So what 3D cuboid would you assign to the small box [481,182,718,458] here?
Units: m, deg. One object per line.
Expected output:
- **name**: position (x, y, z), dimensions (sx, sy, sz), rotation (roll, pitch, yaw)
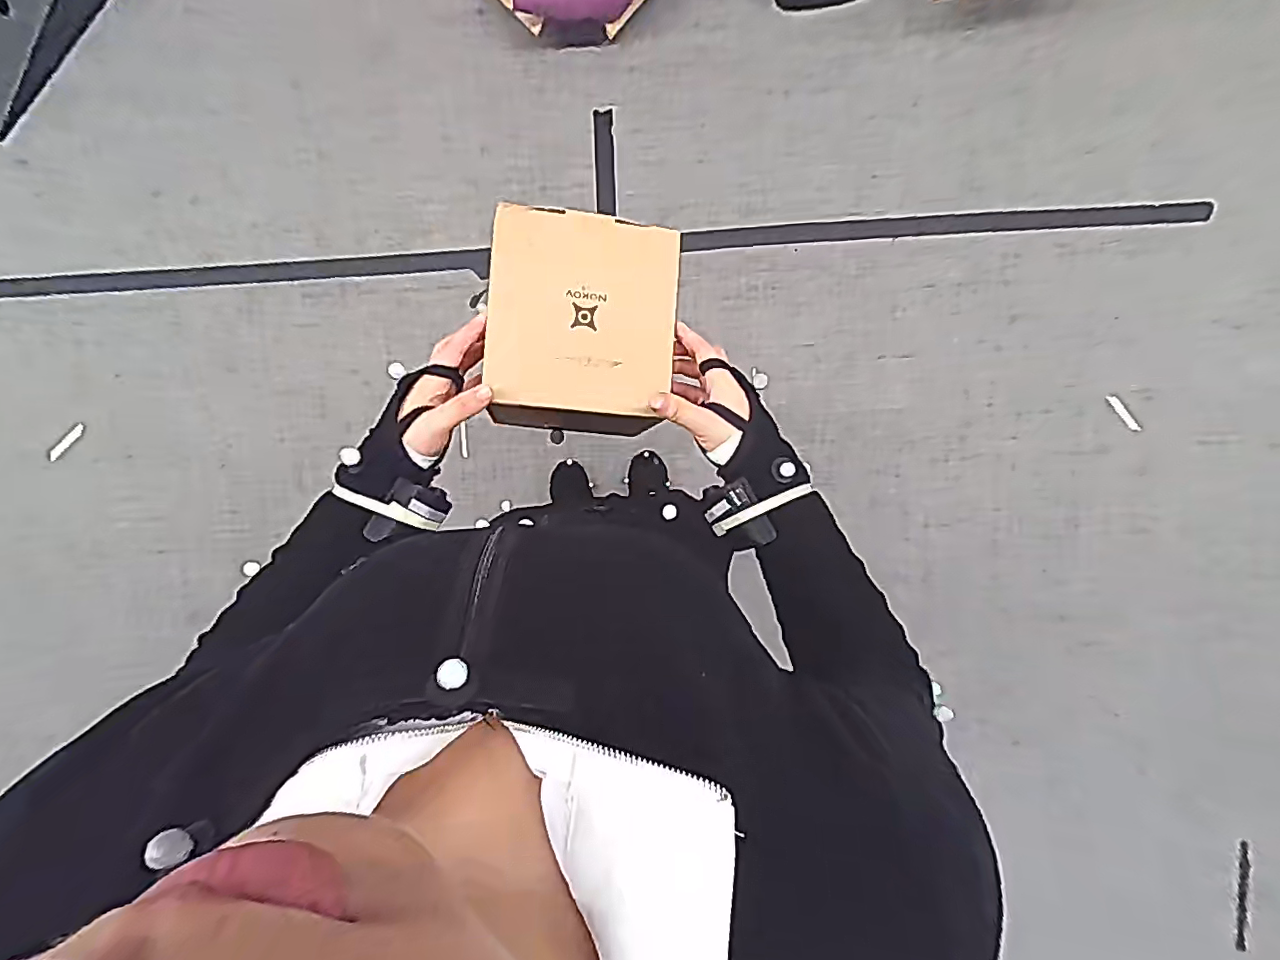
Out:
- **small box**: position (-0.041, -0.115, 0.467), dimensions (0.168, 0.176, 0.179), rotation (3, 89, -11)
